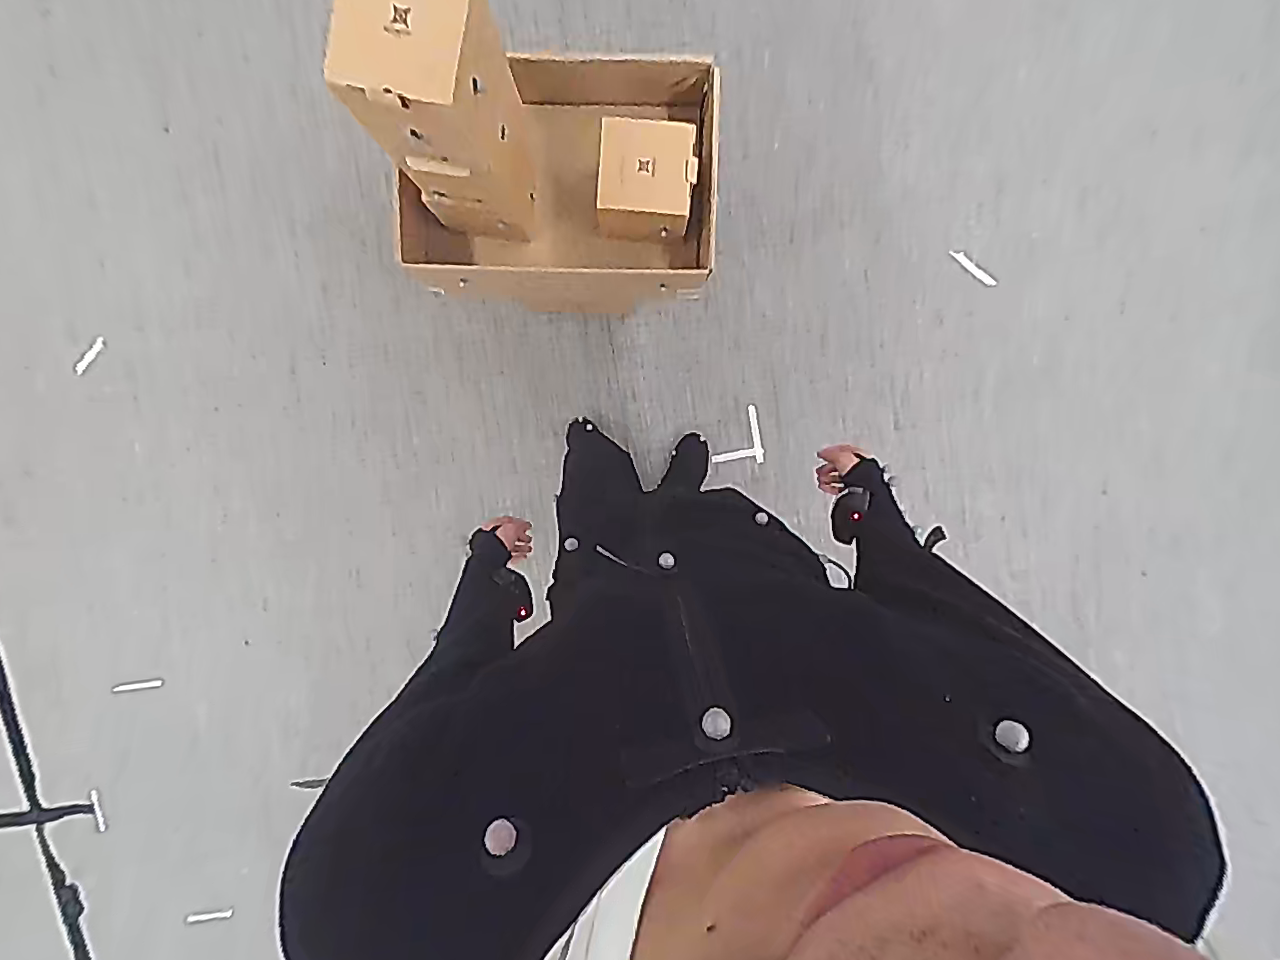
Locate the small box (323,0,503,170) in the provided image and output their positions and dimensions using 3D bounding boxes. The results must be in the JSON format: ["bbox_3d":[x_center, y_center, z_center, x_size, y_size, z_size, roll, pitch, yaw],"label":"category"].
[{"bbox_3d":[-0.300,-0.567,0.749,0.168,0.176,0.179,12,95,-2],"label":"small box"}]

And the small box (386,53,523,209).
[{"bbox_3d":[-0.303,-0.586,0.913,0.168,0.176,0.179,8,94,-1],"label":"small box"}]
